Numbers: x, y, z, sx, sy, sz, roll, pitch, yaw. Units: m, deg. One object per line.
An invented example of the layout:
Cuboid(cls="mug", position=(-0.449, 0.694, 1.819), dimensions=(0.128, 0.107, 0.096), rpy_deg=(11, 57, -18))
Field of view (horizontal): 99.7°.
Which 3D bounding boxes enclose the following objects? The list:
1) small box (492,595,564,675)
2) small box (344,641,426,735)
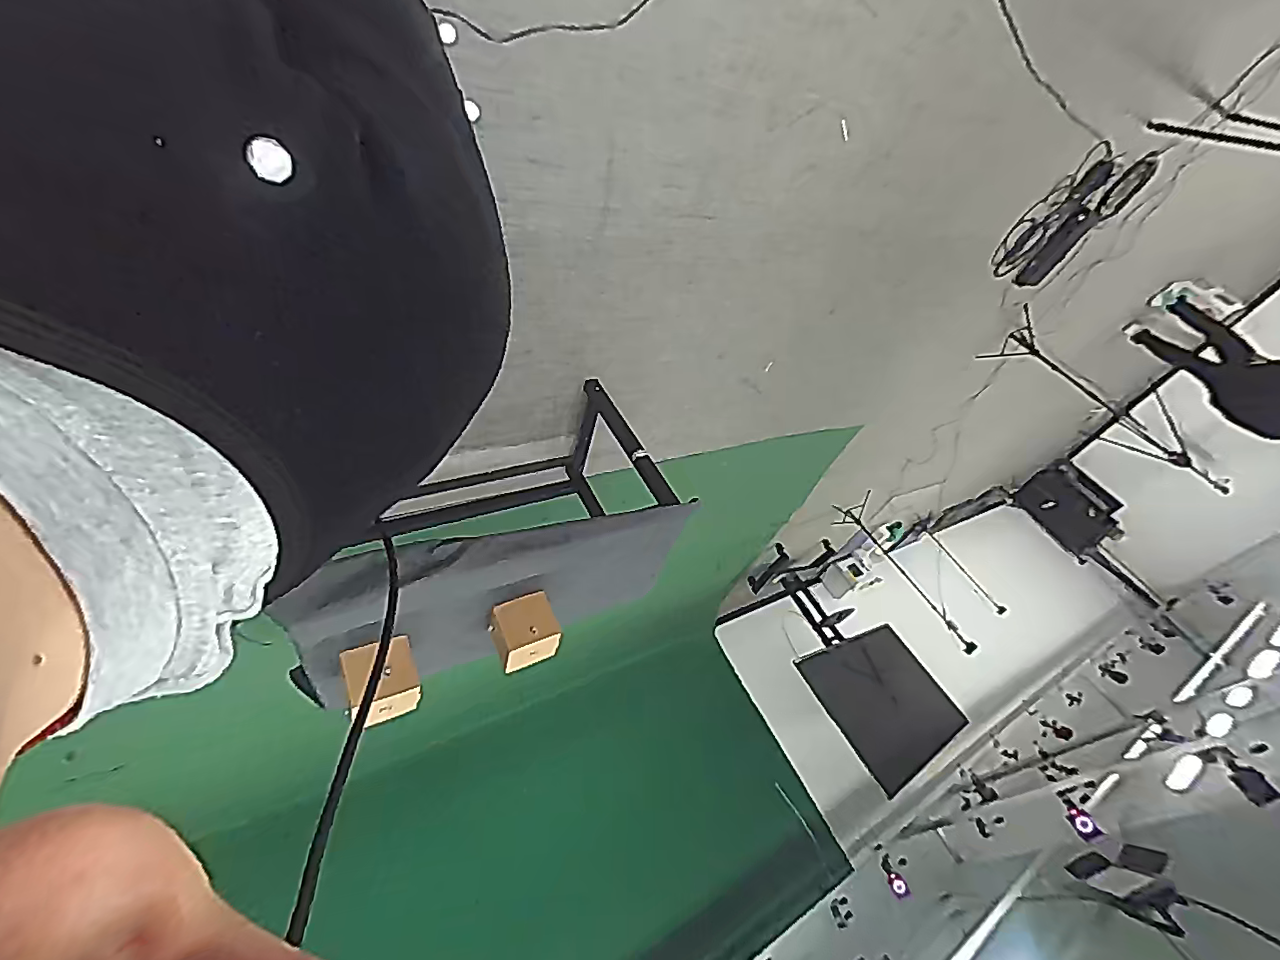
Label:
Cuboid(cls="small box", position=(-0.370, 0.502, 1.773), dimensions=(0.179, 0.176, 0.168), rpy_deg=(-13, 143, -28))
Cuboid(cls="small box", position=(-0.733, 0.587, 1.546), dimensions=(0.179, 0.176, 0.168), rpy_deg=(-10, 142, -35))
